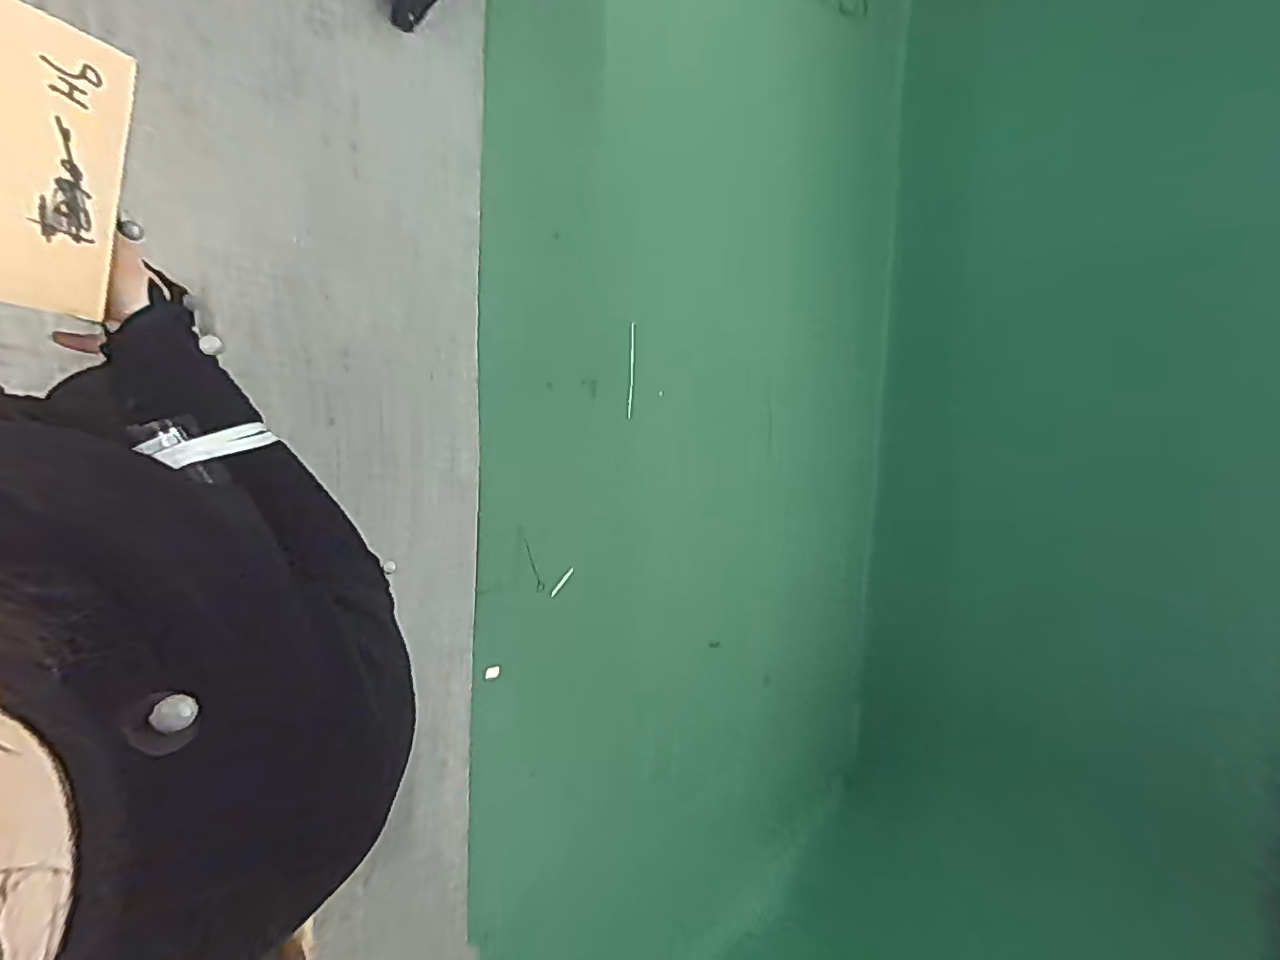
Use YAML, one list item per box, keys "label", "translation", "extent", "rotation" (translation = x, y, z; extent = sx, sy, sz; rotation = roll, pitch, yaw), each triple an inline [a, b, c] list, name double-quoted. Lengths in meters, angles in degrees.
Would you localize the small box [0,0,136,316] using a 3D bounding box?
- label: "small box"
  translation: [-0.442, -0.209, 0.330]
  extent: [0.179, 0.176, 0.168]
  rotation: [7, 101, -48]
